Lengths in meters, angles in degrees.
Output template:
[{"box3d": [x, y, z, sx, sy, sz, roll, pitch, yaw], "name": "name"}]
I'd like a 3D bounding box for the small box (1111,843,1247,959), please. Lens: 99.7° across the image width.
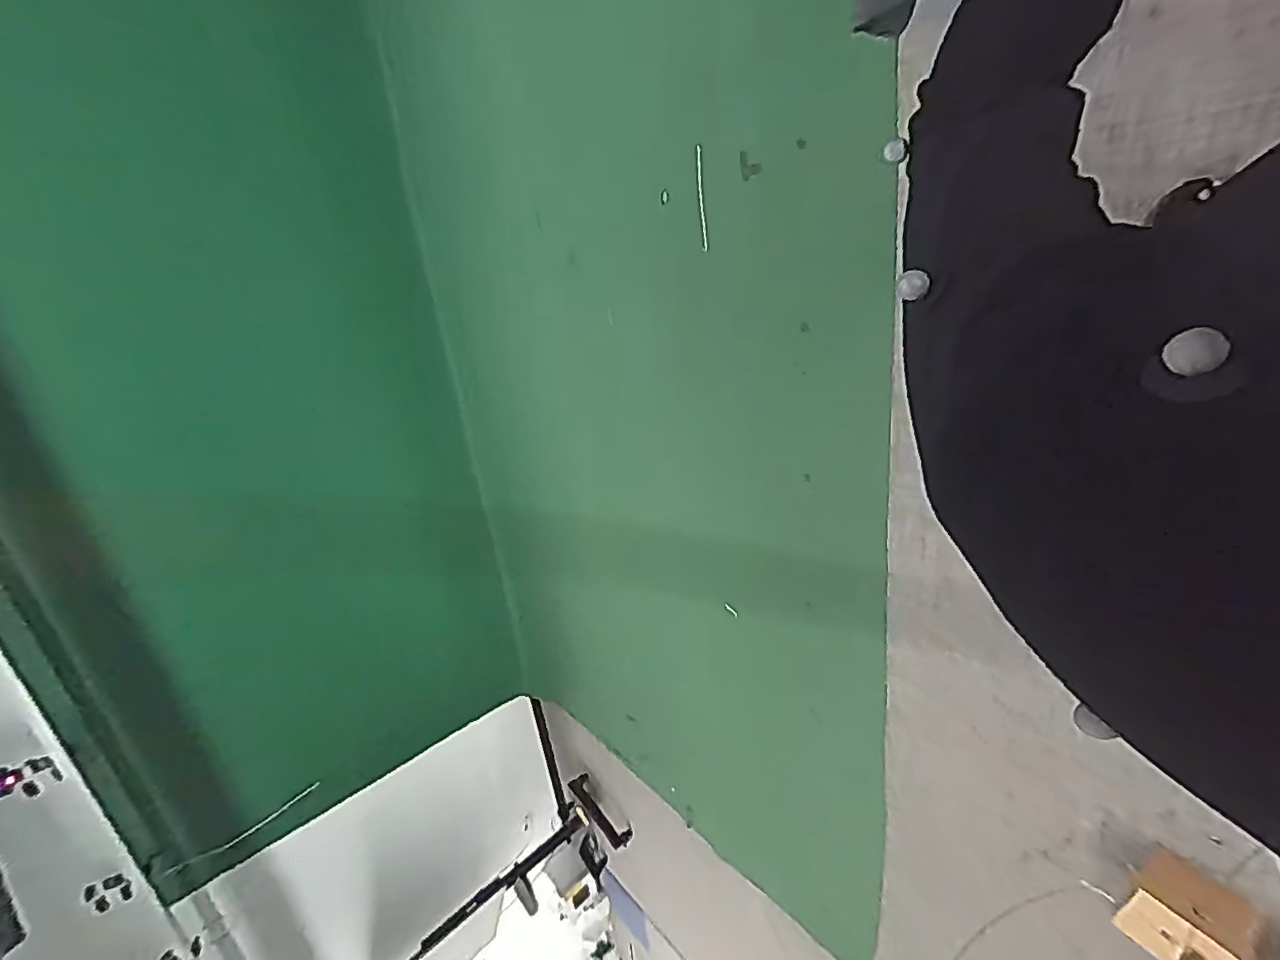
[{"box3d": [1.298, 1.035, 1.302, 0.179, 0.176, 0.168, 32, 131, 41], "name": "small box"}]
